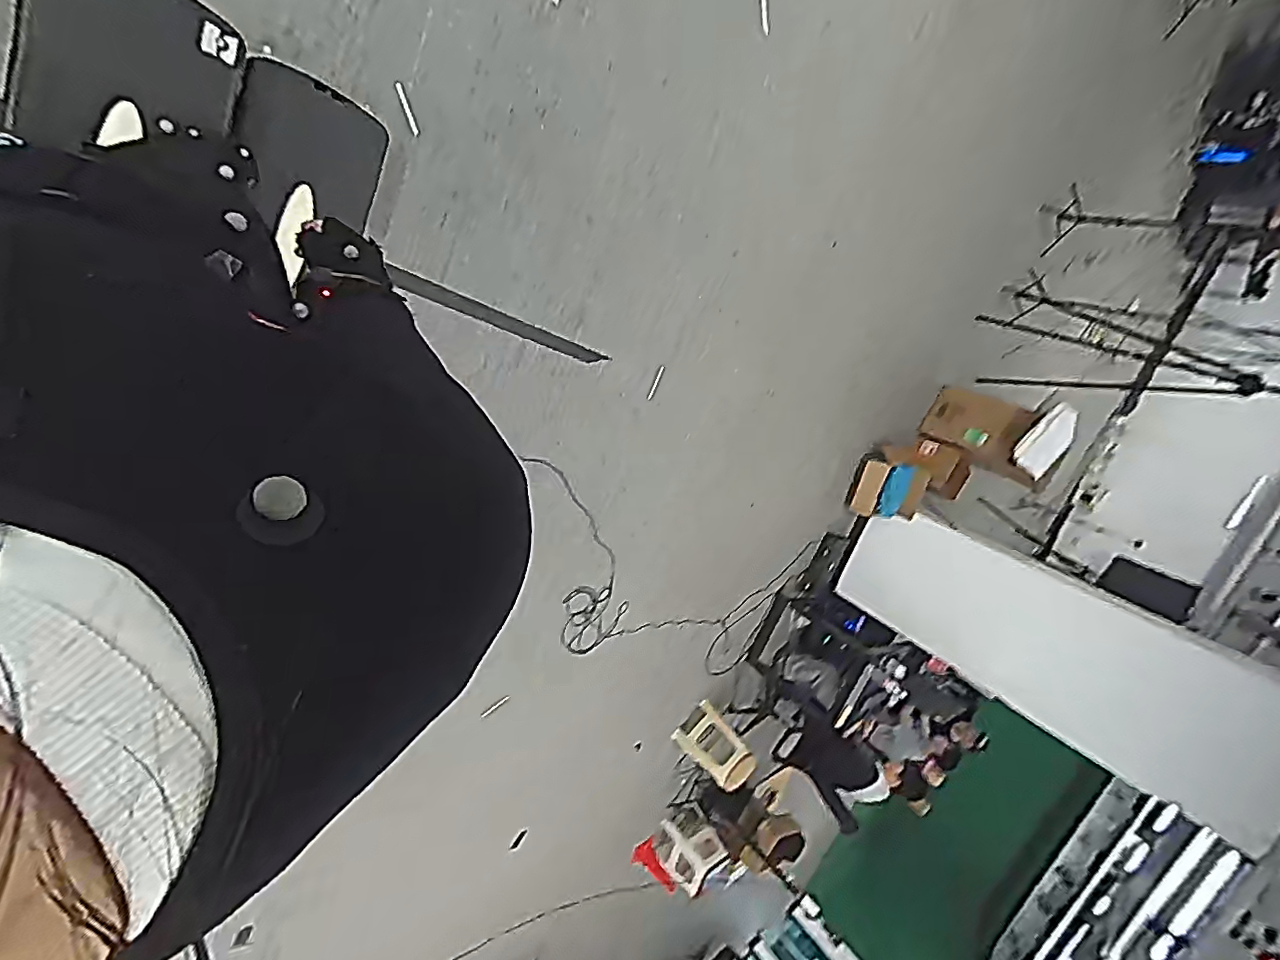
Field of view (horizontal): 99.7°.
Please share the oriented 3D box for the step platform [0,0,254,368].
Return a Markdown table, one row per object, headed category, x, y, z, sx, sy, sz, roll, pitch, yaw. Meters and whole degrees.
| category | x | y | z | sx | sy | sz | roll | pitch | yaw |
| --- | --- | --- | --- | --- | --- | --- | --- | --- | --- |
| step platform | -0.980 | -0.568 | 1.039 | 0.286 | 0.204 | 0.684 | 9 | 107 | -46 |
